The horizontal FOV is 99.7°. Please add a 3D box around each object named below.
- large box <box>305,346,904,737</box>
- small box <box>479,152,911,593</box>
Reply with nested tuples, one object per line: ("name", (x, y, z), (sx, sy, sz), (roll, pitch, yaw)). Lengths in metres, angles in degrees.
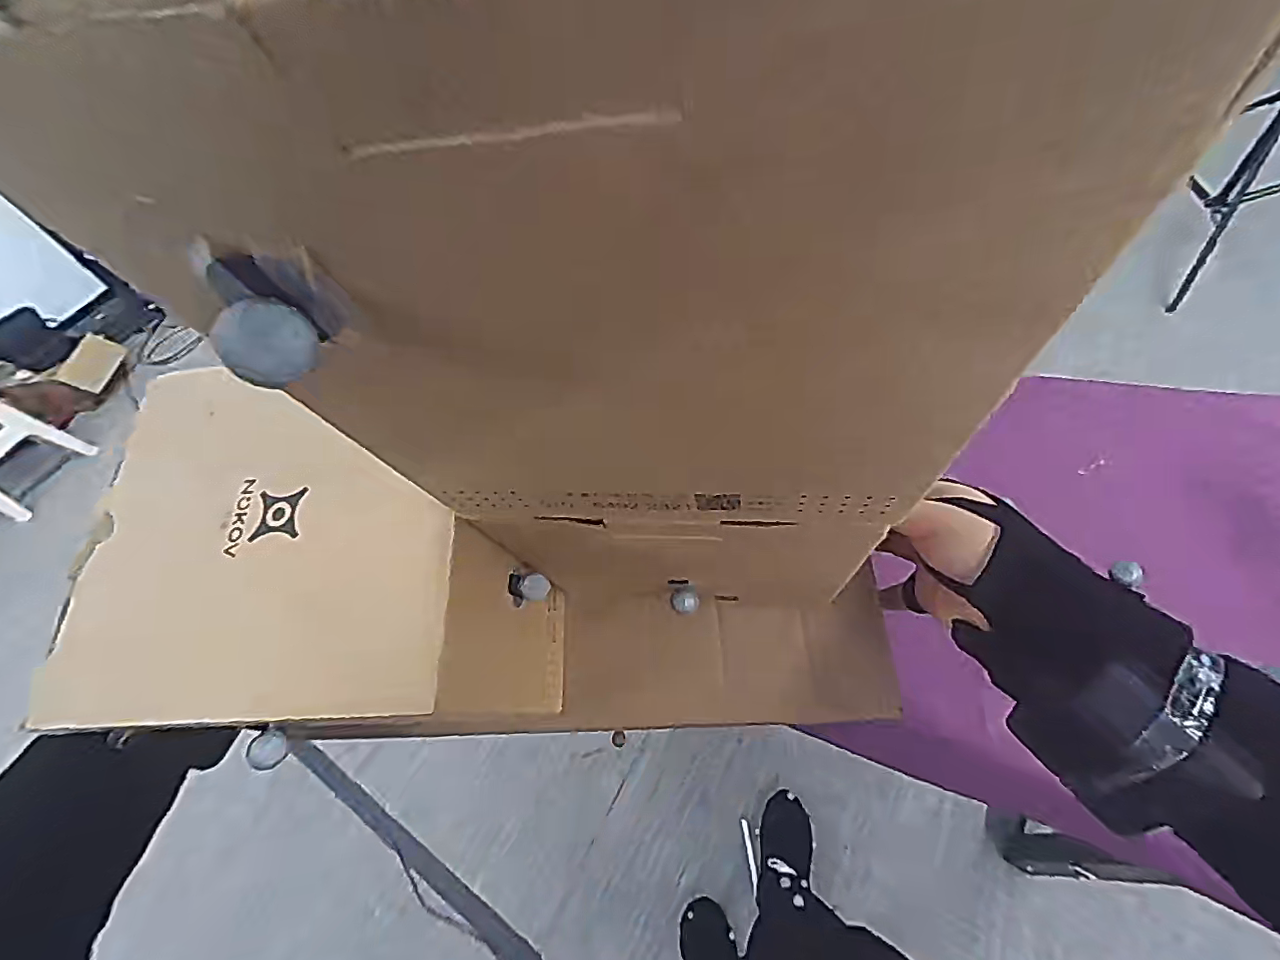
("large box", (-0.018, 0.070, 0.539), (0.408, 0.320, 0.320), (-7, 65, 8))
("small box", (0.035, -0.044, 0.306), (0.168, 0.176, 0.179), (0, 67, 11))
